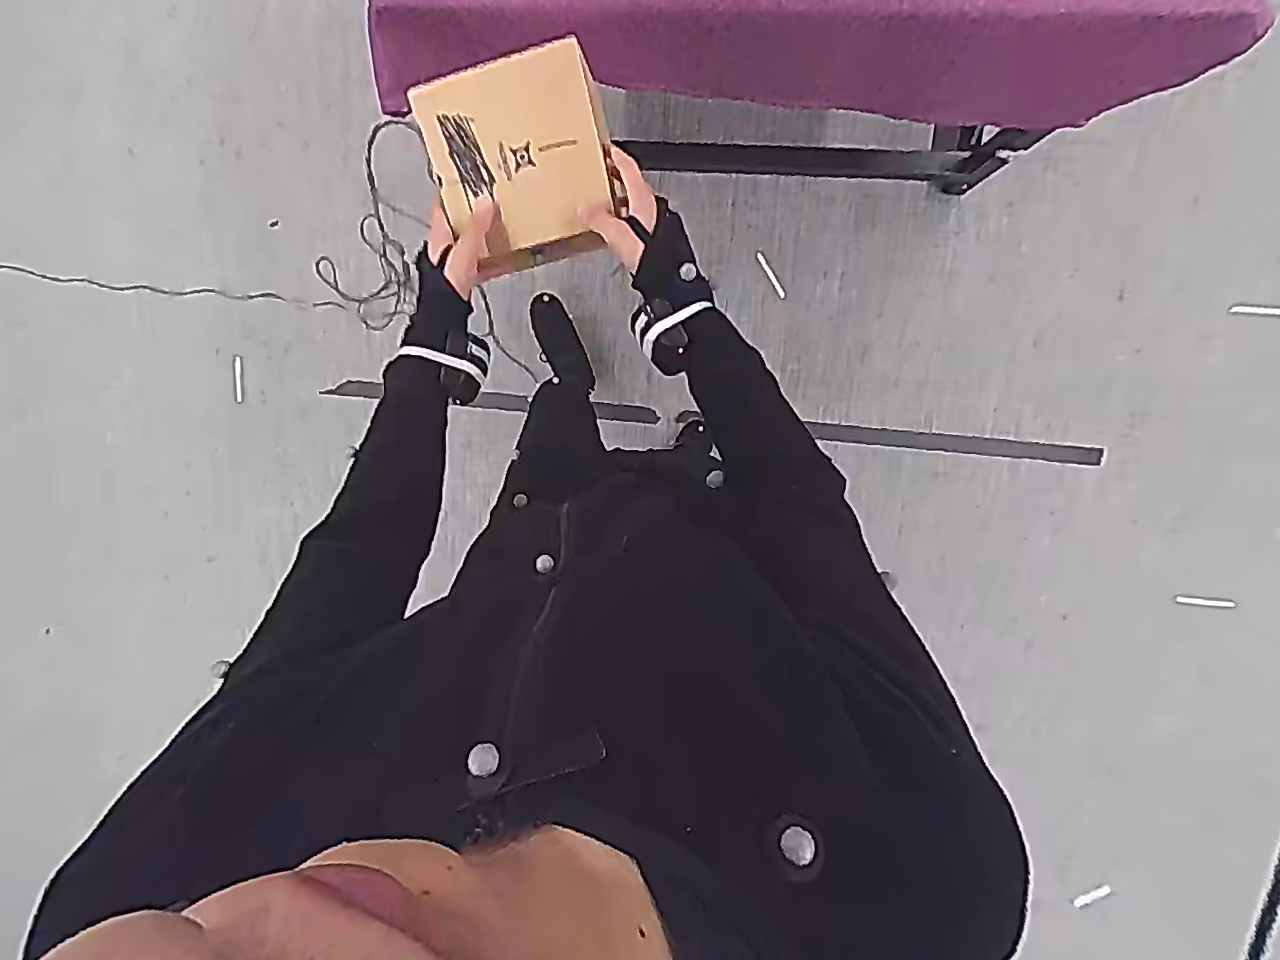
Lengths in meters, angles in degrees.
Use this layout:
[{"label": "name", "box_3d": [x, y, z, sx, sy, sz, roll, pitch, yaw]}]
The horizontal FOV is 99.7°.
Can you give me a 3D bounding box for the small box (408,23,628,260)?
[{"label": "small box", "box_3d": [-0.120, -0.356, 0.610, 0.179, 0.176, 0.168, -11, 107, 7]}]
